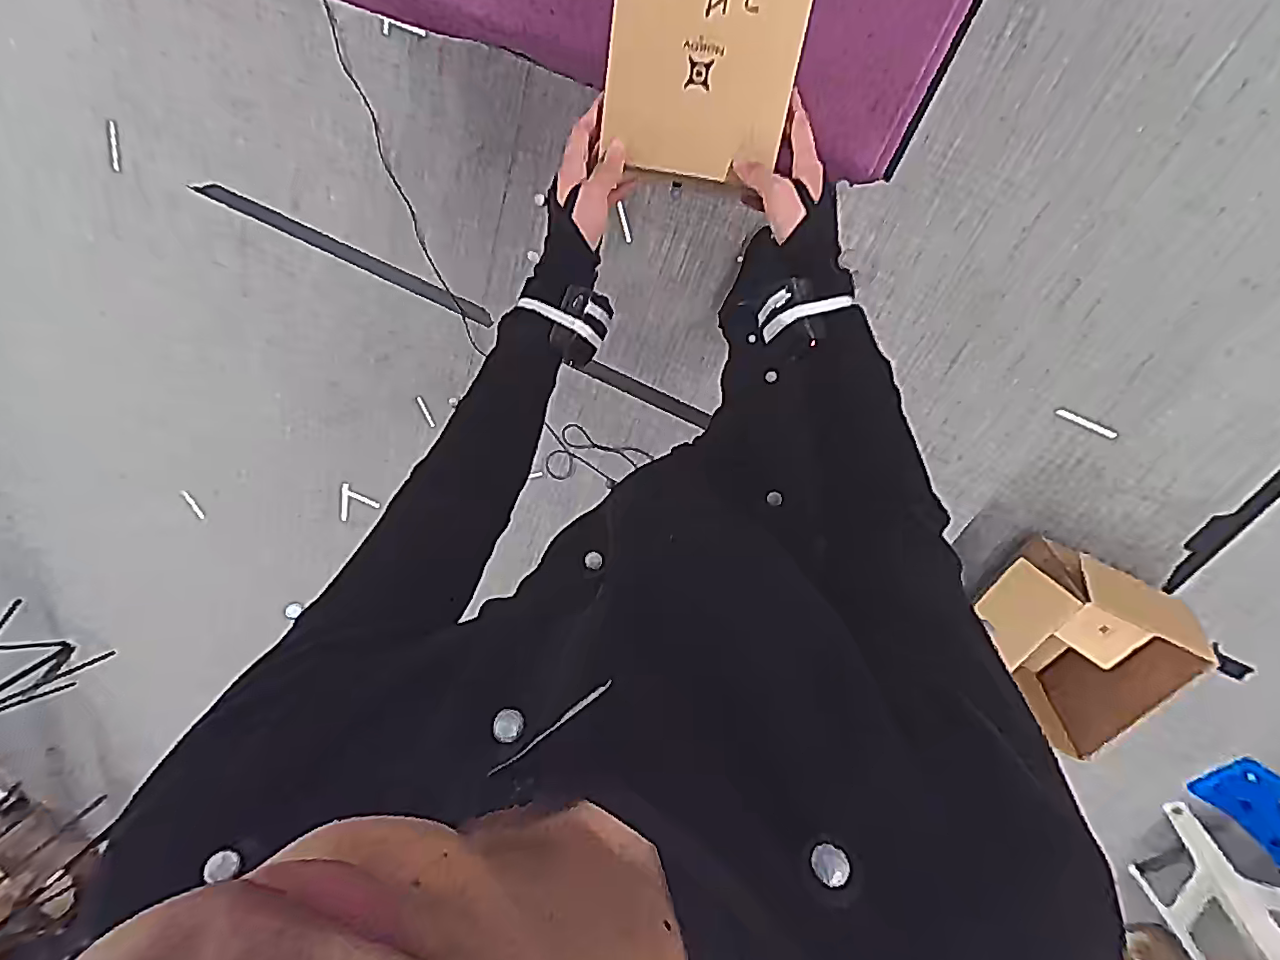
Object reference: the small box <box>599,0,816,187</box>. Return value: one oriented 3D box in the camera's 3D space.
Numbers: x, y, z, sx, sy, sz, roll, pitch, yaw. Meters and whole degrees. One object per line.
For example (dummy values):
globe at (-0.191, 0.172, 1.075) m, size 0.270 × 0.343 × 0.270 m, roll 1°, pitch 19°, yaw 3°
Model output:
small box at (0.061, -0.398, 0.528) m, size 0.168 × 0.176 × 0.179 m, roll 10°, pitch 115°, yaw -1°
